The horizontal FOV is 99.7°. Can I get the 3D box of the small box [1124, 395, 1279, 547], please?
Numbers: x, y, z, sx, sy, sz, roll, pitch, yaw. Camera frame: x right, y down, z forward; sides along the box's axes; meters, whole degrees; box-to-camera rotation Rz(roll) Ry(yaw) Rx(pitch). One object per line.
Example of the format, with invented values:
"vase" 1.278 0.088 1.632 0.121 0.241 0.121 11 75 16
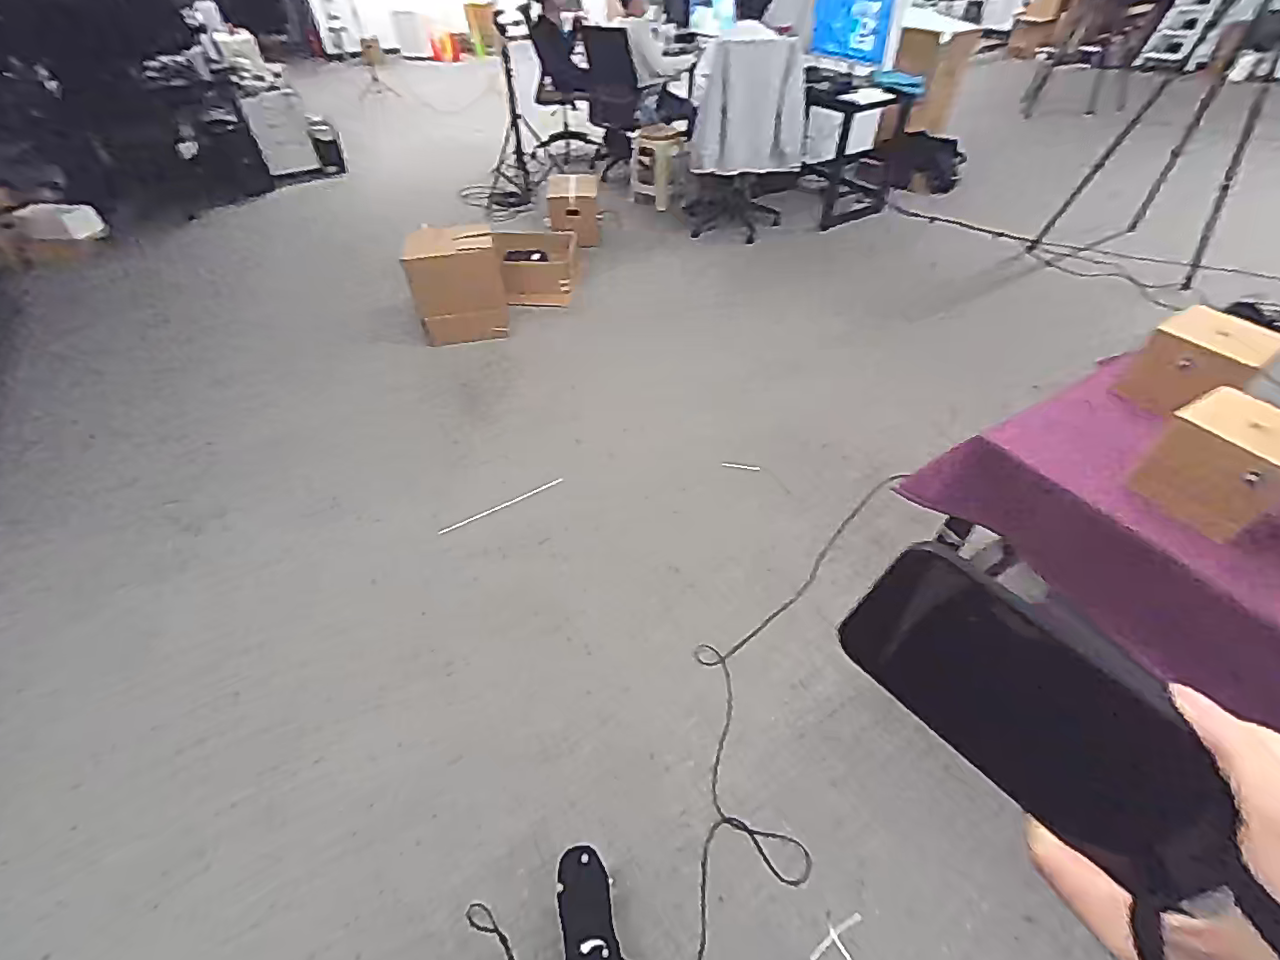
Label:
"small box" 1.017 -0.016 0.941 0.168 0.176 0.179 -22 50 -19
